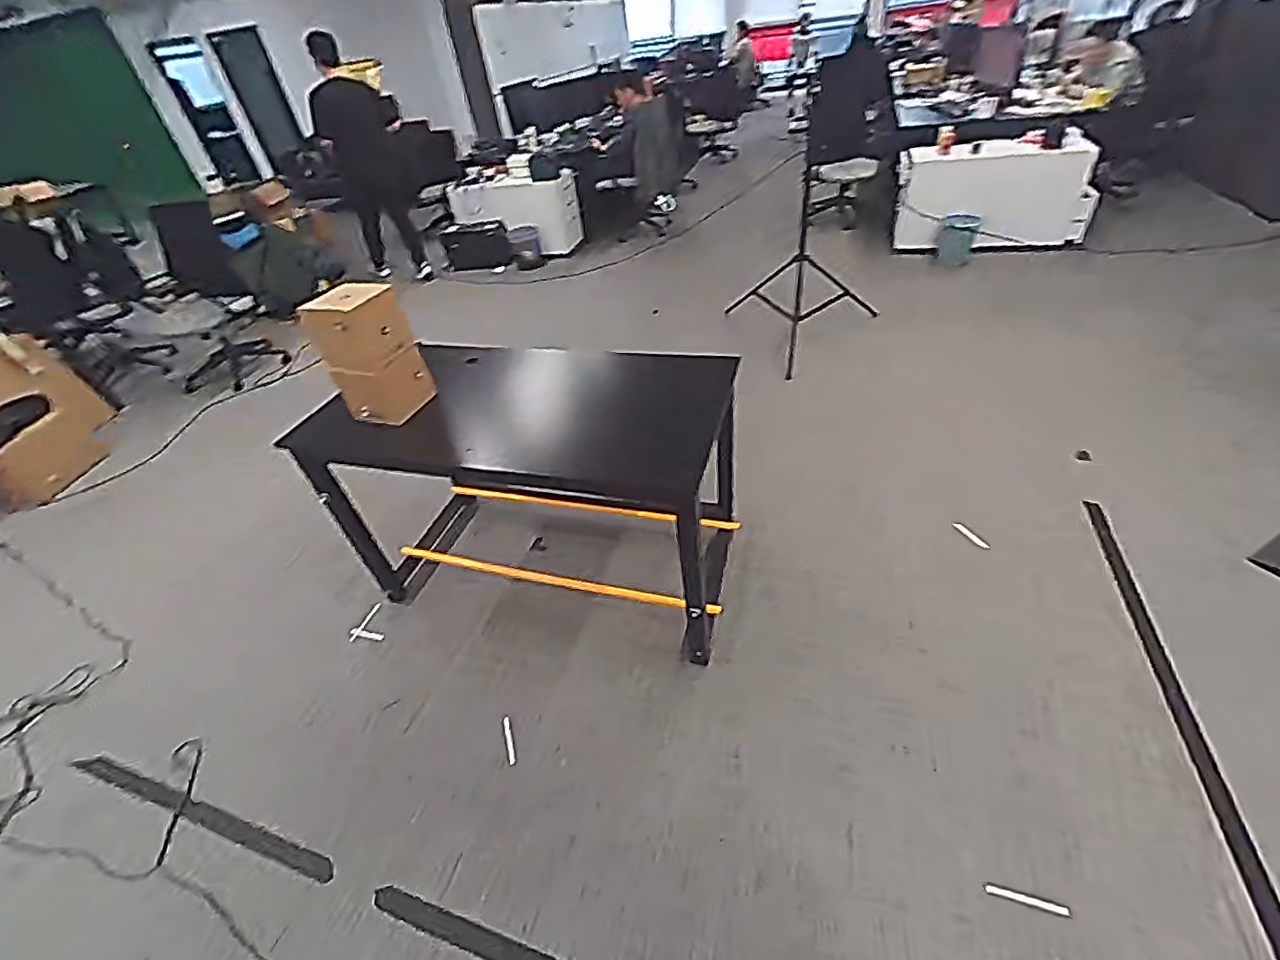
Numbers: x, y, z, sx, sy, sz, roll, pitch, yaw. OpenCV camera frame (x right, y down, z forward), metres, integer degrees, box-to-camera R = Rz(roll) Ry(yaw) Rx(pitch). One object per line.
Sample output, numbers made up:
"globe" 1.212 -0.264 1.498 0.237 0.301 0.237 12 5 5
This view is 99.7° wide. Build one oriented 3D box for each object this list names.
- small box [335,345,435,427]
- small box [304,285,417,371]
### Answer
"small box" -0.711 -0.273 1.539 0.168 0.176 0.179 8 44 20
"small box" -0.733 -0.403 1.440 0.179 0.176 0.168 8 42 20
